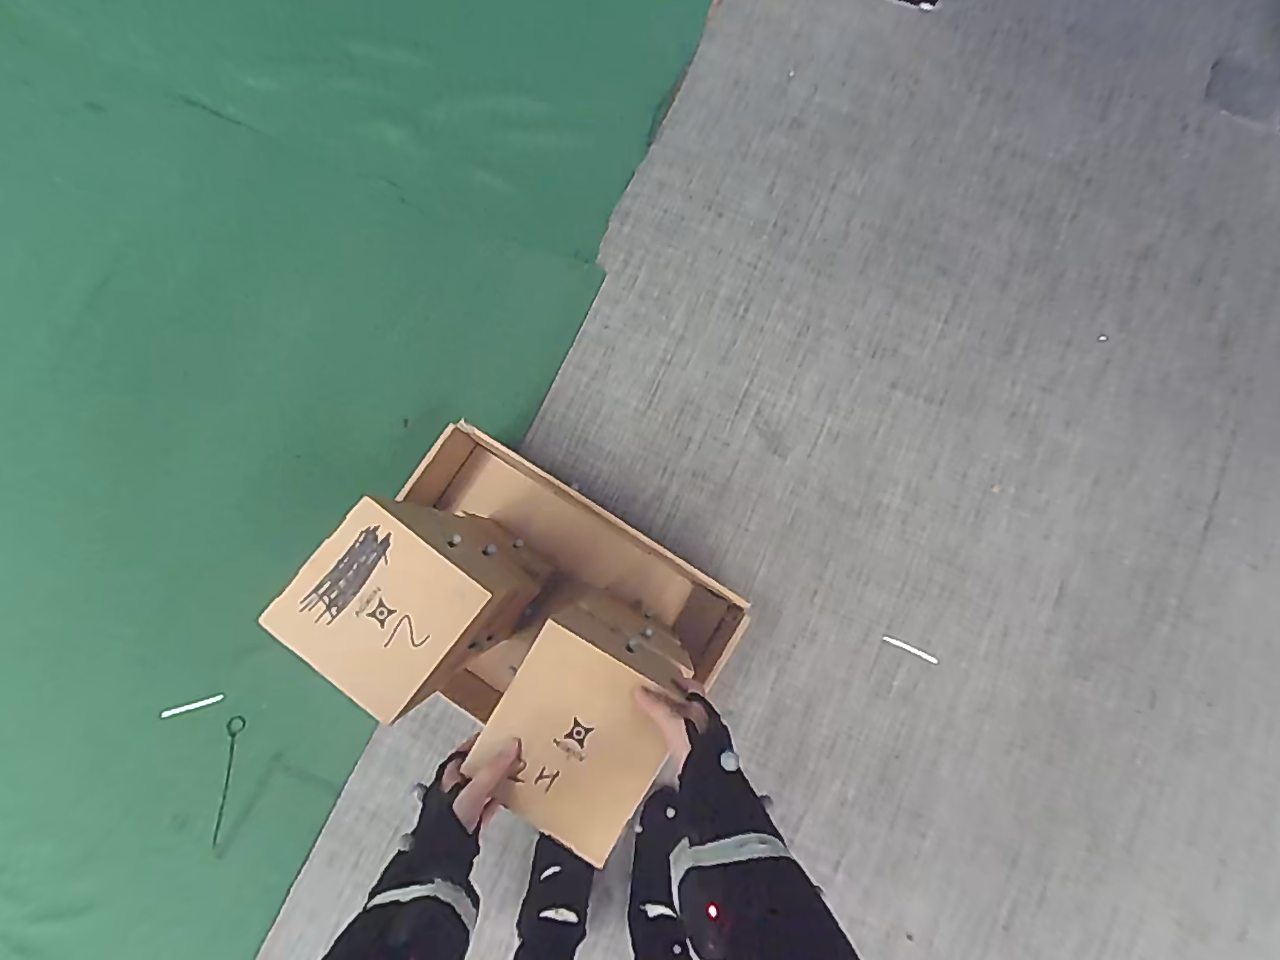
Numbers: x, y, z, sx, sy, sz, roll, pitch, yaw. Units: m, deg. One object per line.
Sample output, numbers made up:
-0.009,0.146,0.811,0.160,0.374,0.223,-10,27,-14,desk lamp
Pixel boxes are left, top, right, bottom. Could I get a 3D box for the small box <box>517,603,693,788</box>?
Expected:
-0.041,0.287,0.772,0.179,0.176,0.168,30,83,7,small box
